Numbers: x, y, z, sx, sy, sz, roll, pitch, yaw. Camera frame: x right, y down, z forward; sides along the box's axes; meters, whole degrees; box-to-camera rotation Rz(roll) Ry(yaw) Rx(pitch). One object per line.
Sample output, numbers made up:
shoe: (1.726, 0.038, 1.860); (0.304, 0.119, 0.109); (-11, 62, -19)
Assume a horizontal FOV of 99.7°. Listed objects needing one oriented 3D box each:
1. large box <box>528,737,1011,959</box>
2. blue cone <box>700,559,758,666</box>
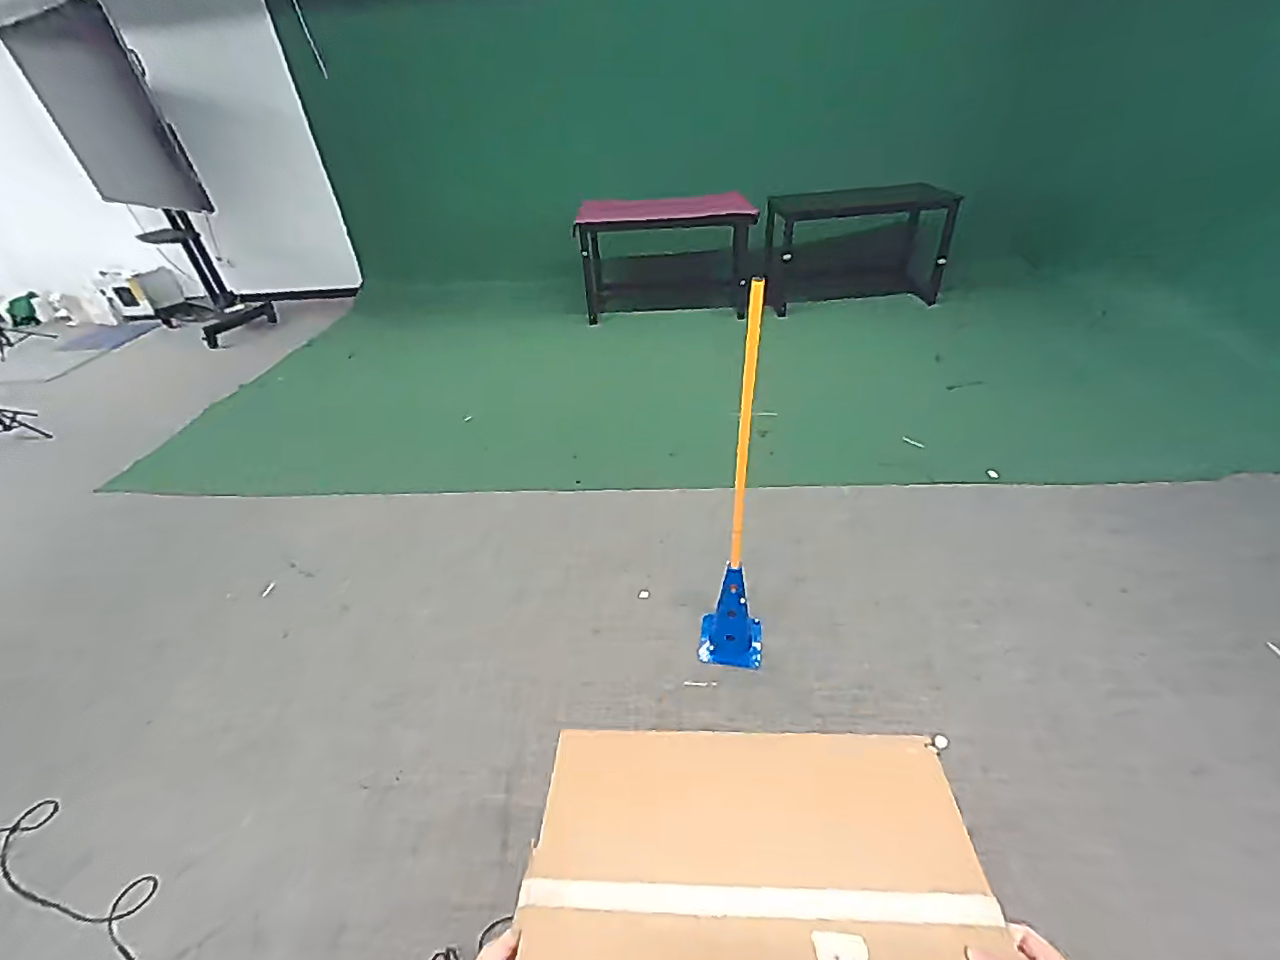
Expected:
large box: (0.113, 0.499, 0.559); (0.408, 0.320, 0.320); (-1, 34, 5)
blue cone: (0.291, 0.407, 1.728); (0.193, 0.380, 0.192); (5, 37, 12)
